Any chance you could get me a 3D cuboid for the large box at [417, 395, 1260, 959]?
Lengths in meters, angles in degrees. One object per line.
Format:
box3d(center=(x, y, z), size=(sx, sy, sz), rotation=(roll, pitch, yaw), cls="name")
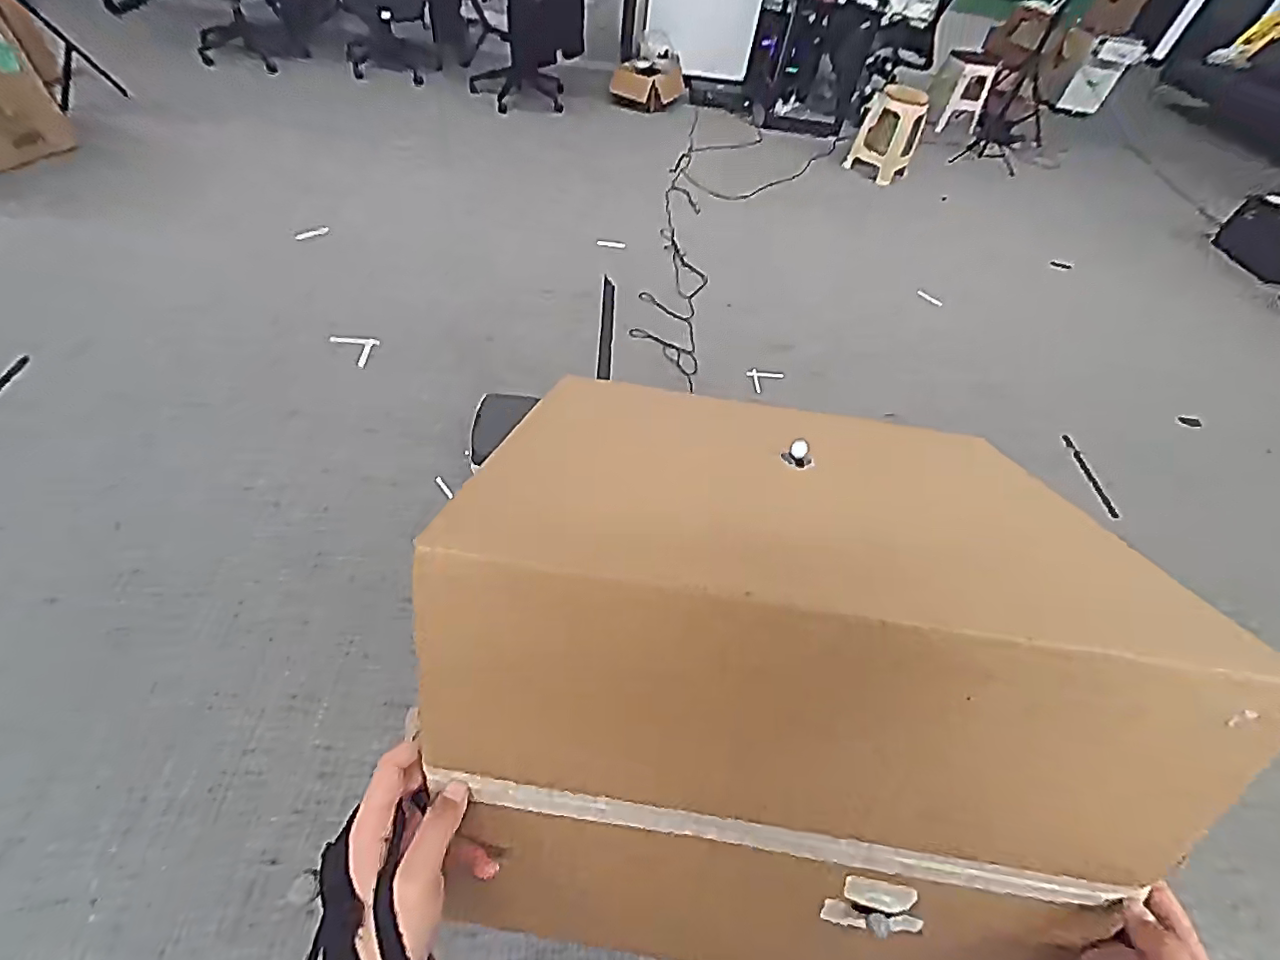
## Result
box3d(center=(0.084, 0.134, 0.451), size=(0.408, 0.320, 0.320), rotation=(8, 27, 1), cls="large box")
